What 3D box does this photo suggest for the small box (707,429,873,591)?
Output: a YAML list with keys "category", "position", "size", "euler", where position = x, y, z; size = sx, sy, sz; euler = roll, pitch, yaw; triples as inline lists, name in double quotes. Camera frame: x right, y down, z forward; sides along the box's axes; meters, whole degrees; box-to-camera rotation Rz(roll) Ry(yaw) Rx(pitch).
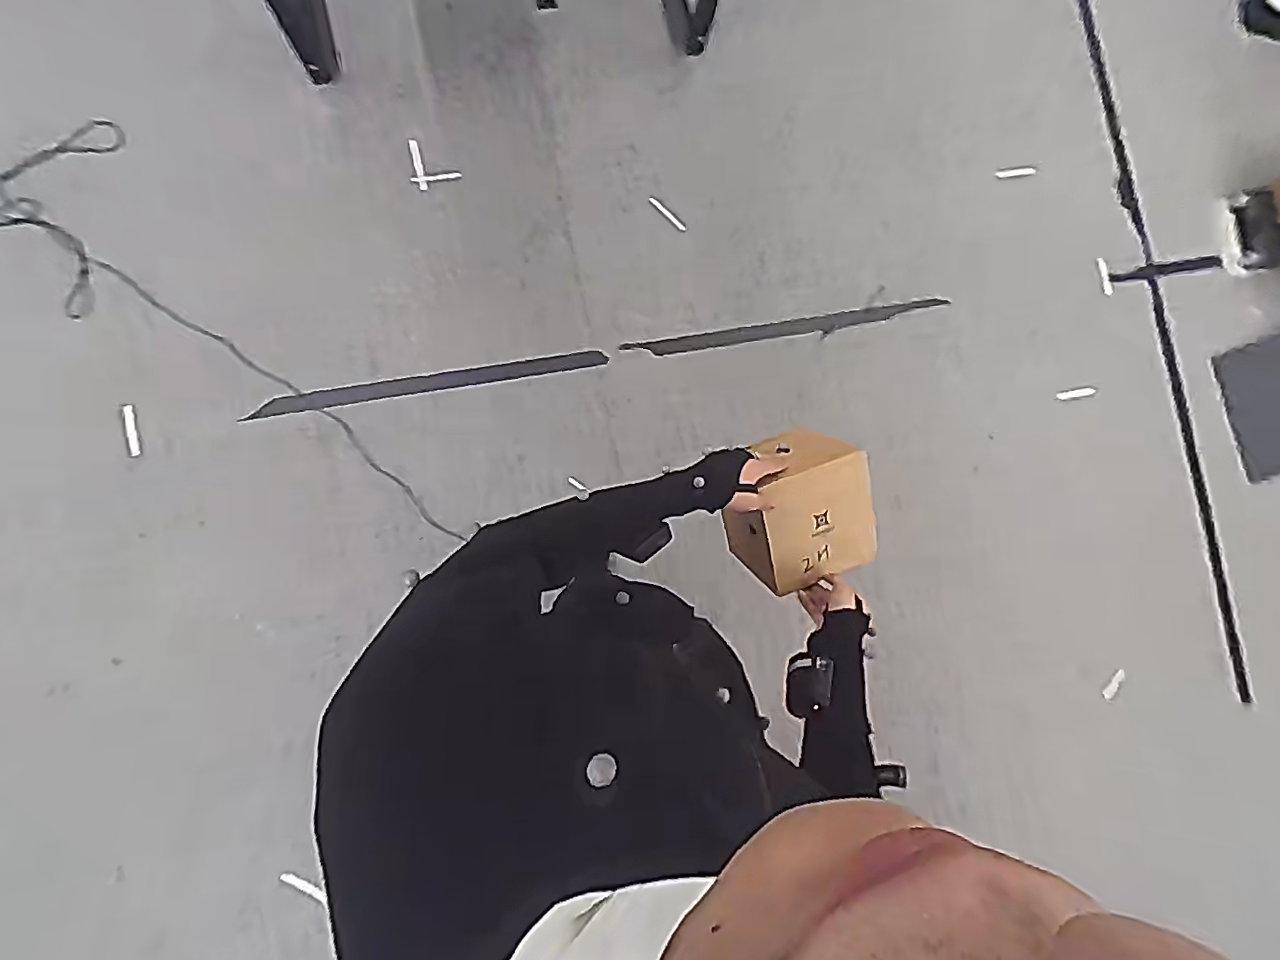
- category: "small box"
  position: [0.218, 0.031, 0.814]
  size: [0.168, 0.176, 0.179]
  euler: [-21, 111, -9]
